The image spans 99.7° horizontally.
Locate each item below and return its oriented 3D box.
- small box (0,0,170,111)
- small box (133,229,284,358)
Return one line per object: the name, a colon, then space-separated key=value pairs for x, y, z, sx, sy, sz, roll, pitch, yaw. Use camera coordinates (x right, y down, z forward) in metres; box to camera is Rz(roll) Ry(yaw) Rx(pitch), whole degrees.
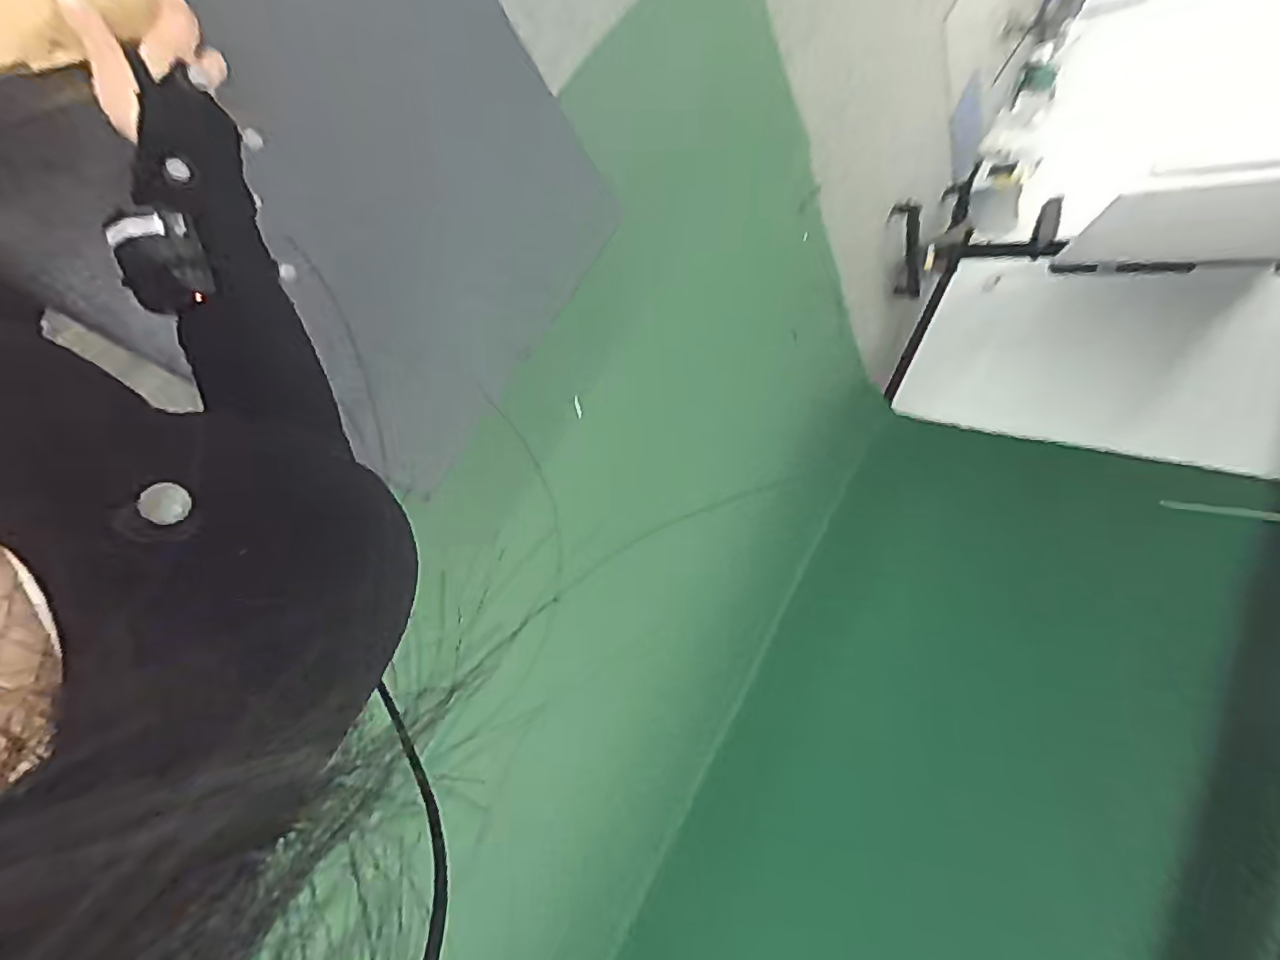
small box: x=-0.485 y=-0.371 z=0.368 sx=0.168 sy=0.176 sz=0.179 roll=-47 pitch=134 yaw=-29
small box: x=-0.859 y=-0.369 z=1.075 sx=0.168 sy=0.176 sz=0.179 roll=39 pitch=75 yaw=-49
